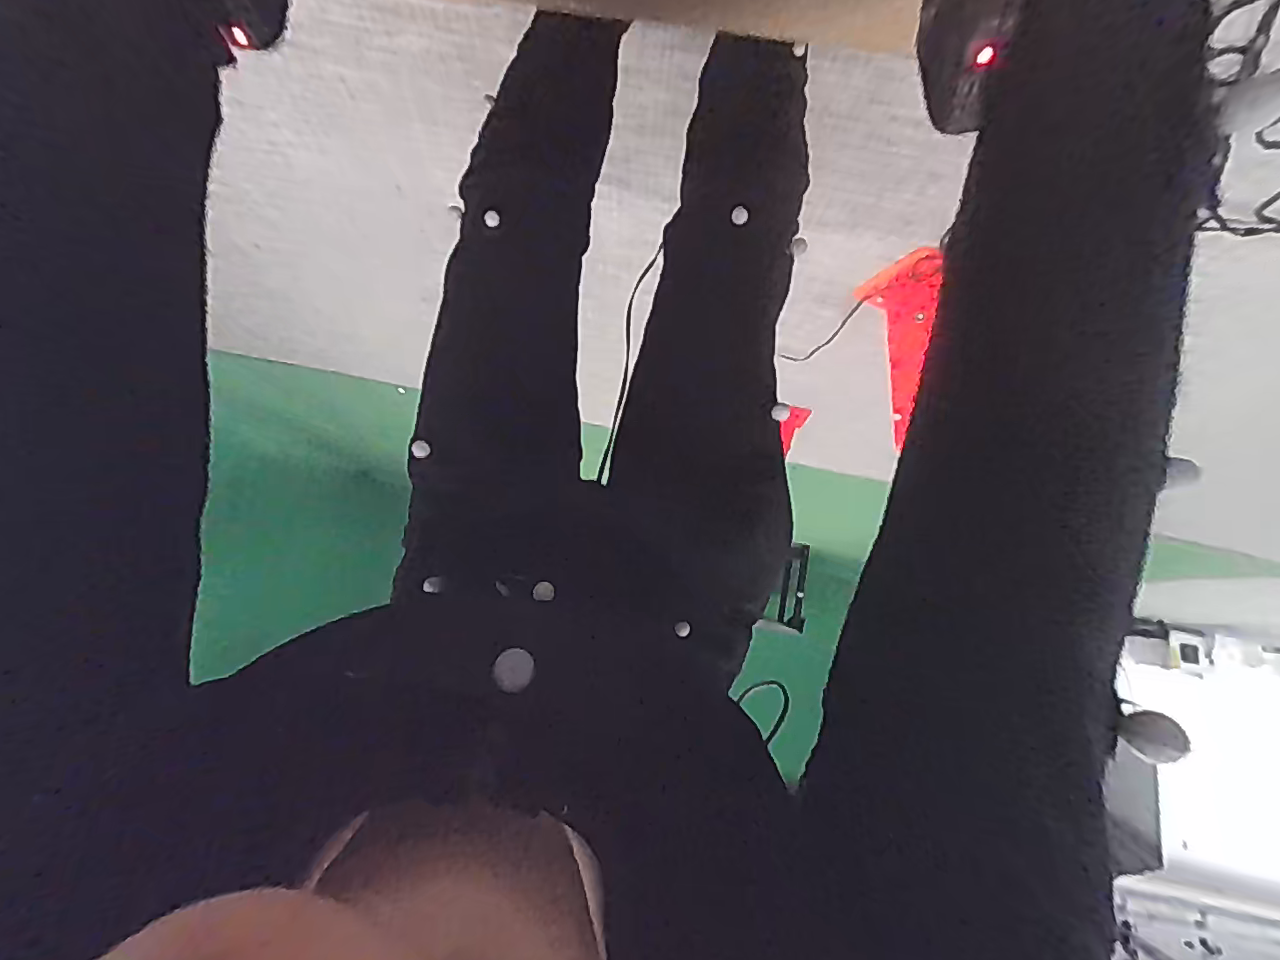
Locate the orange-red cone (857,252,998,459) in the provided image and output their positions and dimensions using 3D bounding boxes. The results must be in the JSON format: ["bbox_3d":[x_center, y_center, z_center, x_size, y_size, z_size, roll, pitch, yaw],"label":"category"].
[{"bbox_3d":[0.540,-0.216,1.051,0.199,0.360,0.198,14,168,-18],"label":"orange-red cone"}]

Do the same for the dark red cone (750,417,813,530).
[{"bbox_3d":[0.461,-0.024,1.861,0.202,0.394,0.201,10,170,9],"label":"dark red cone"}]
